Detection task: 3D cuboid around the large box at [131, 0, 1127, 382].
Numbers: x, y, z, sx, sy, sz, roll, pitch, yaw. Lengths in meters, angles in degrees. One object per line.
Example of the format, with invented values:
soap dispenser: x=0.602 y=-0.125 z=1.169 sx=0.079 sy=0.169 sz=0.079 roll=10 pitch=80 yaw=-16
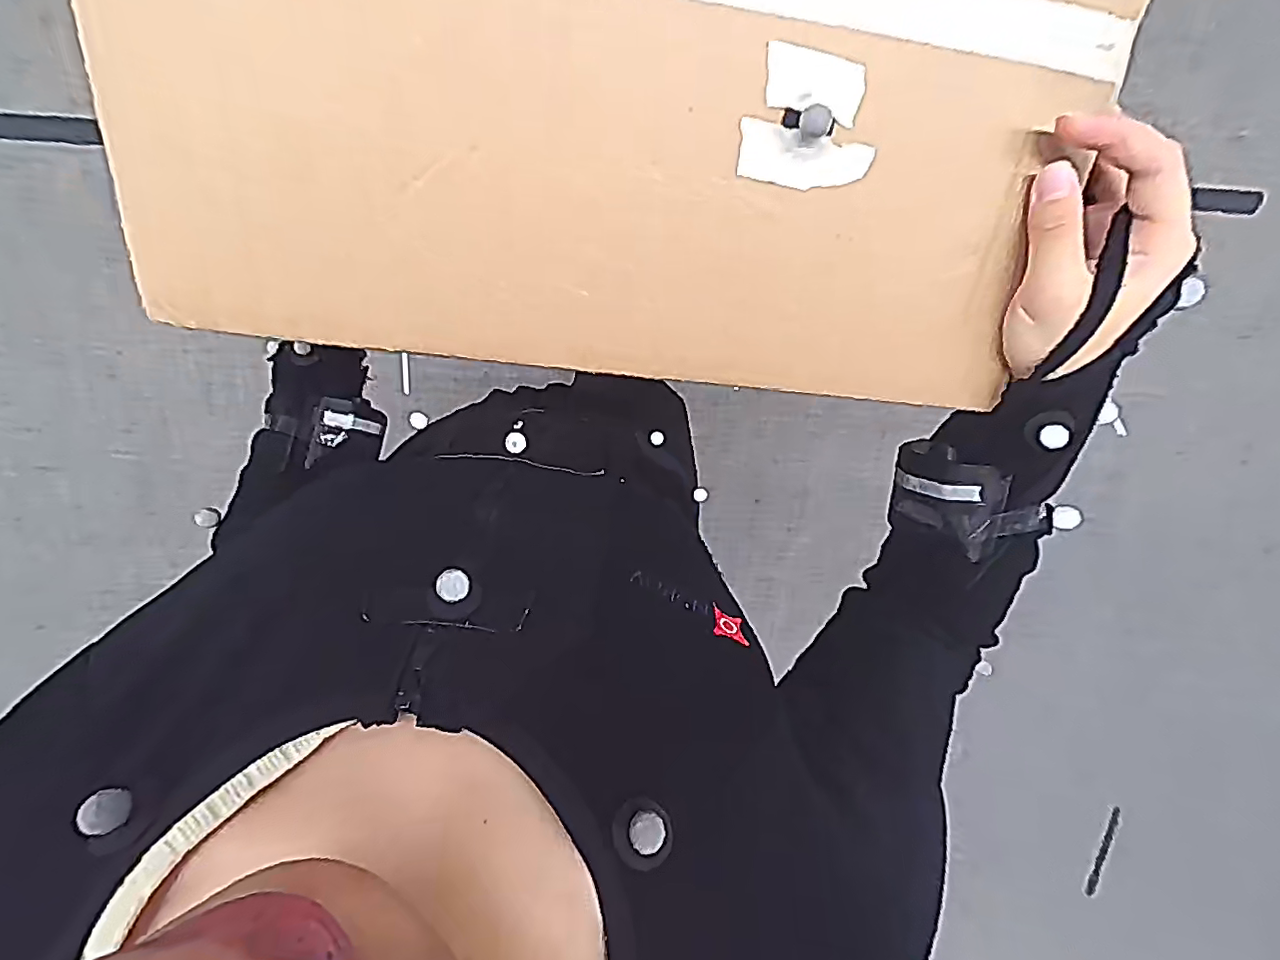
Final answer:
large box: x=-0.006 y=-0.260 z=0.350 sx=0.408 sy=0.320 sz=0.320 roll=4 pitch=112 yaw=-10
